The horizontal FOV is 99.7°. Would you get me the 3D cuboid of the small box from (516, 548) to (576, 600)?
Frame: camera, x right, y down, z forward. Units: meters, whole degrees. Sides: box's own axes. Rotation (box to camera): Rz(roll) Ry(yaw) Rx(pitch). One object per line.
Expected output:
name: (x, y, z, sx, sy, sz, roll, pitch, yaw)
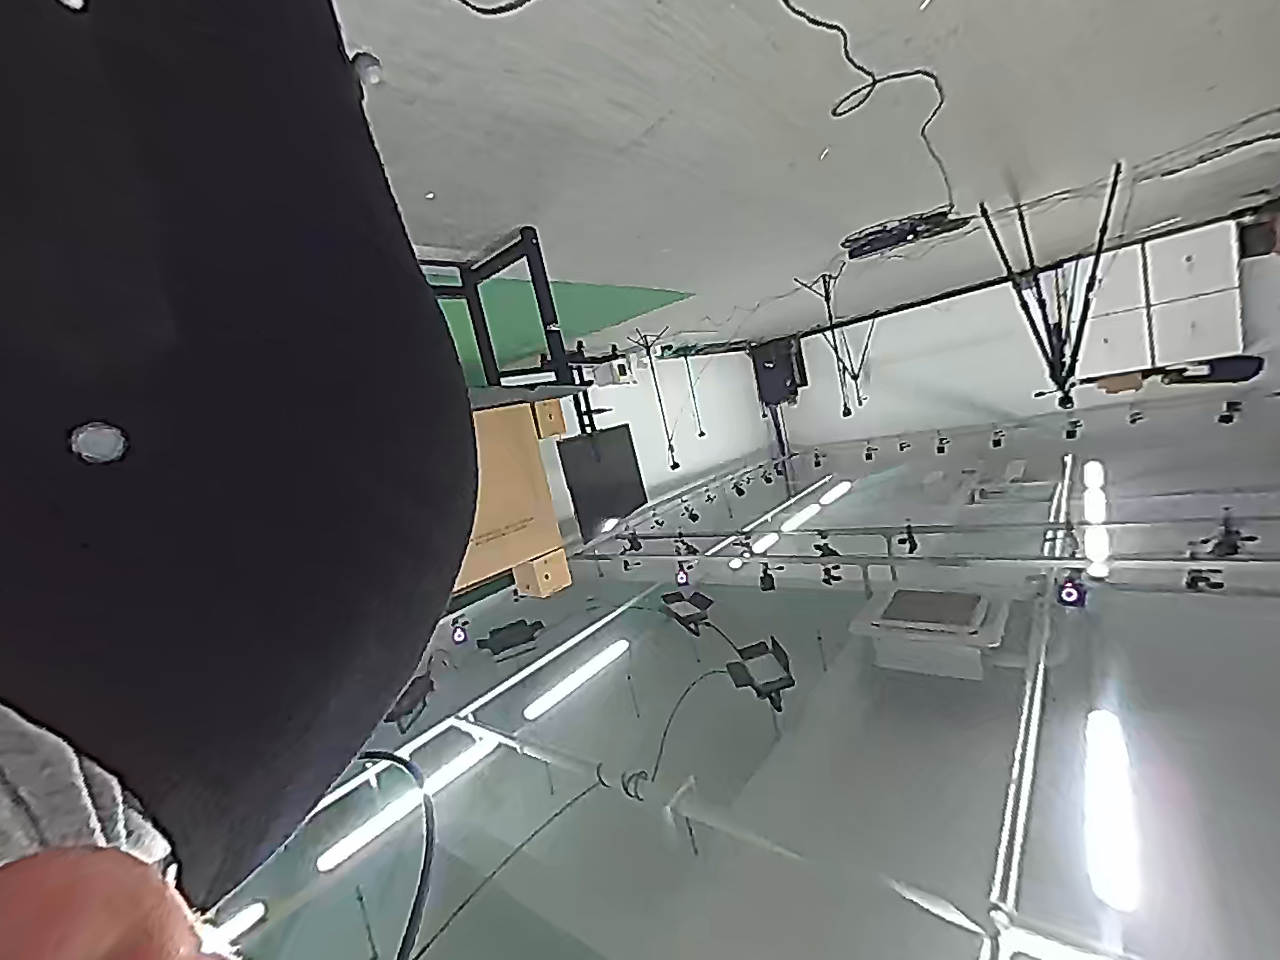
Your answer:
small box: (-0.405, 0.395, 2.306, 0.179, 0.176, 0.168, -5, -169, 45)
